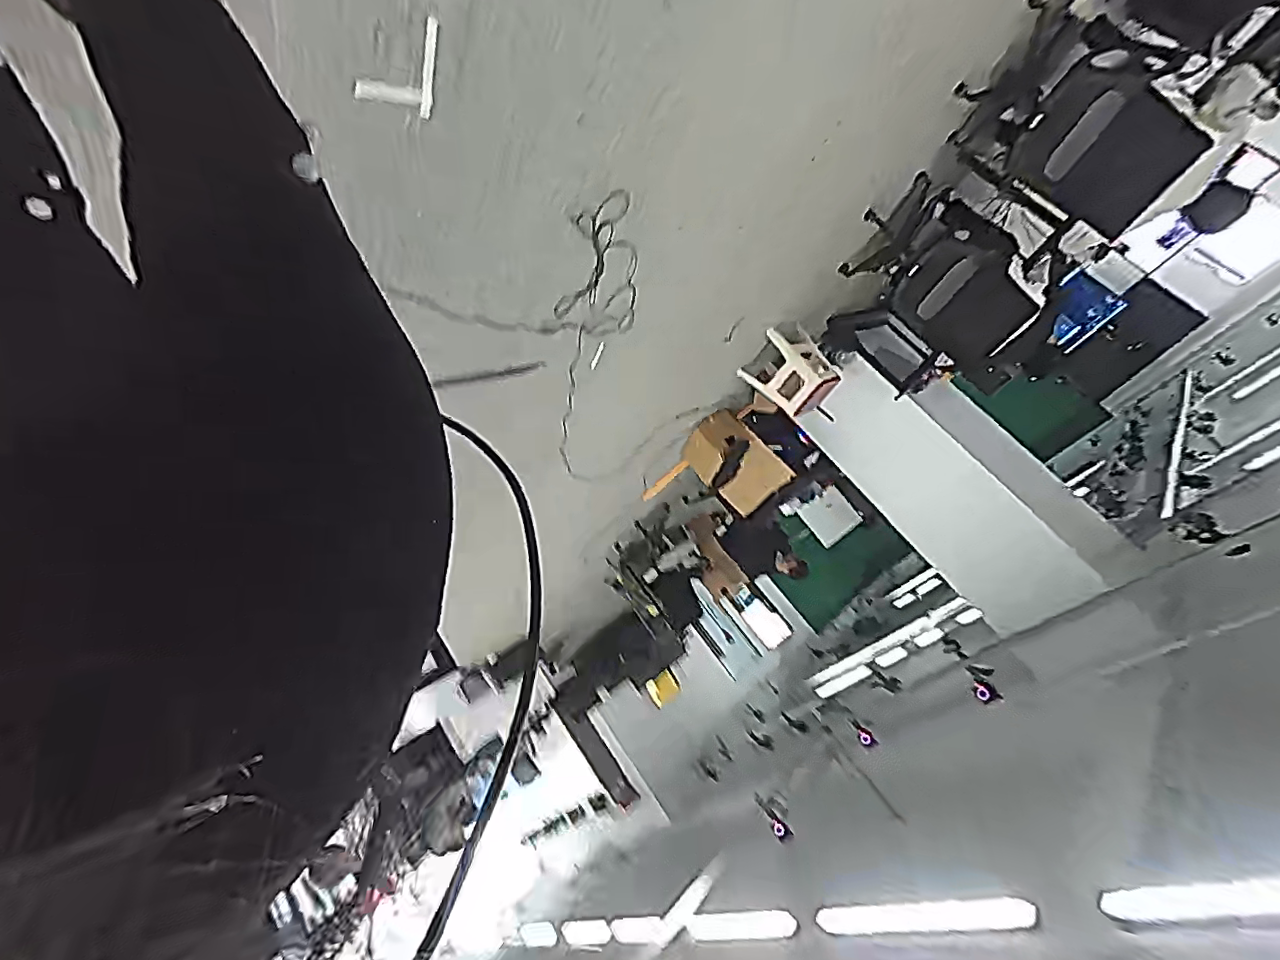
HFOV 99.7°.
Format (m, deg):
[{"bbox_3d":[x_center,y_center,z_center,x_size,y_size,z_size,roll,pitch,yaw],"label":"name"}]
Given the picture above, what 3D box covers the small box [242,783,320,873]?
[{"bbox_3d":[-1.159,1.120,1.749,0.168,0.176,0.179,-22,155,-42],"label":"small box"}]
